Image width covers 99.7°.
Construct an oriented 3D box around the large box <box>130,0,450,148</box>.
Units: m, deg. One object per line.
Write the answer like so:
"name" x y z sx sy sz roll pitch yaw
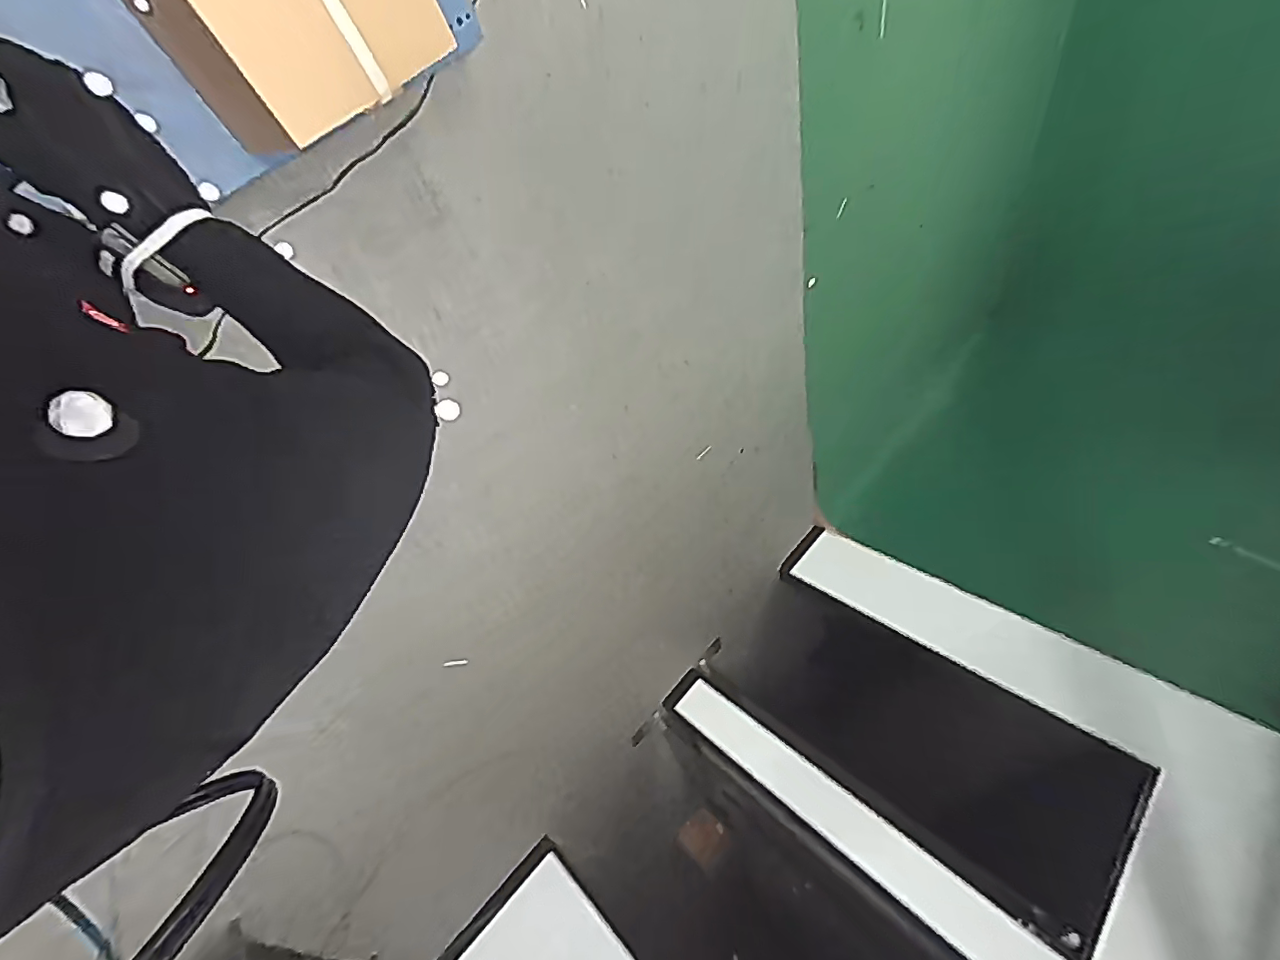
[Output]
"large box" -0.568 -0.766 0.776 0.320 0.320 0.408 -48 138 -17
